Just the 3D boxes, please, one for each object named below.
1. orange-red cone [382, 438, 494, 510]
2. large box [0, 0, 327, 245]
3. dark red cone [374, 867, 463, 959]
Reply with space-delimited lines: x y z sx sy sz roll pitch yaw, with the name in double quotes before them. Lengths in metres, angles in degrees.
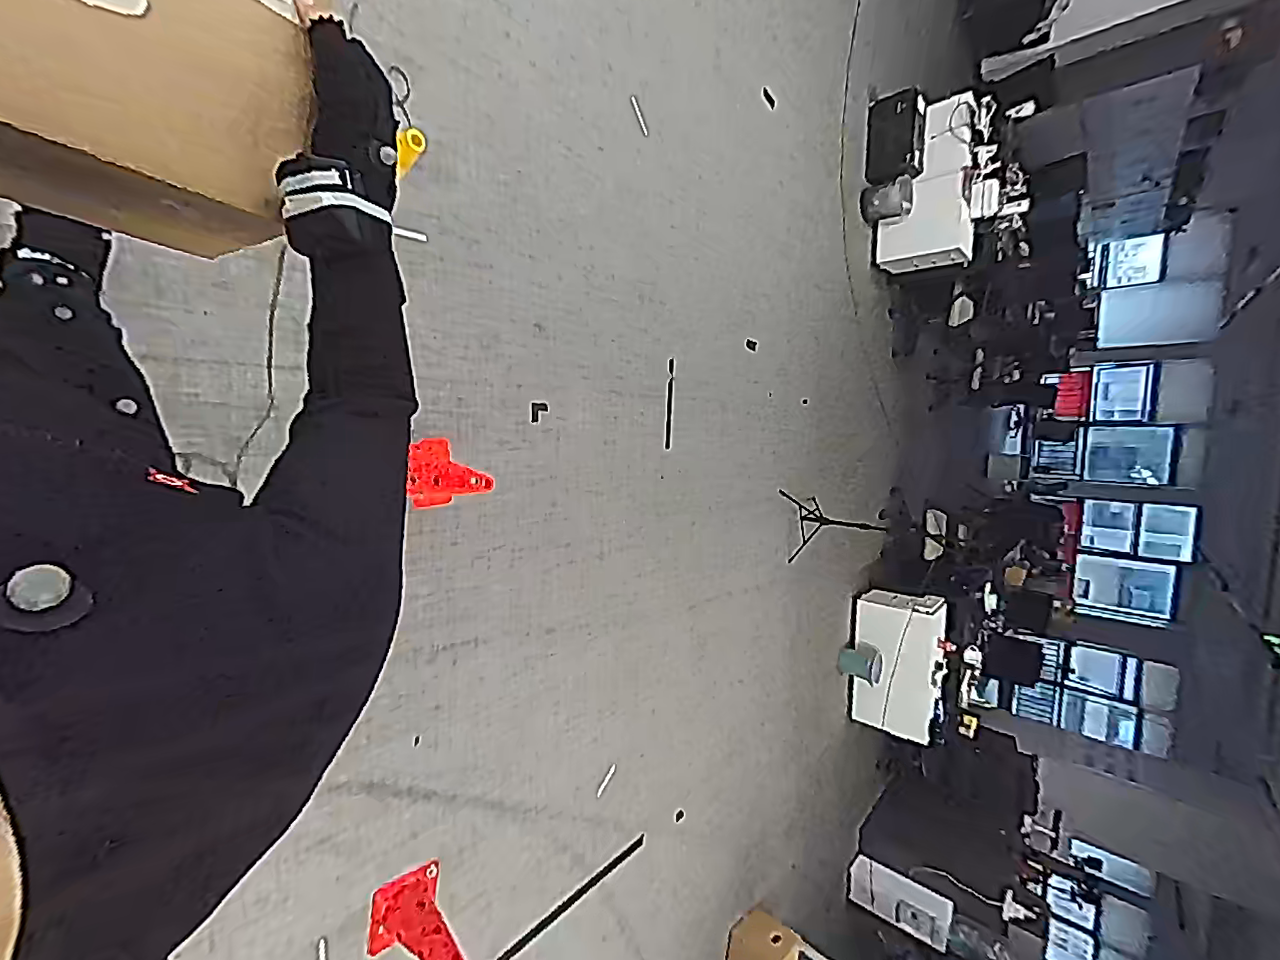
"orange-red cone" -0.506 -0.011 1.435 0.198 0.360 0.199 -9 100 -49
"large box" -0.498 -0.404 0.382 0.408 0.320 0.320 4 98 -51
"dark red cone" -0.558 1.288 1.487 0.201 0.394 0.202 4 91 -48
